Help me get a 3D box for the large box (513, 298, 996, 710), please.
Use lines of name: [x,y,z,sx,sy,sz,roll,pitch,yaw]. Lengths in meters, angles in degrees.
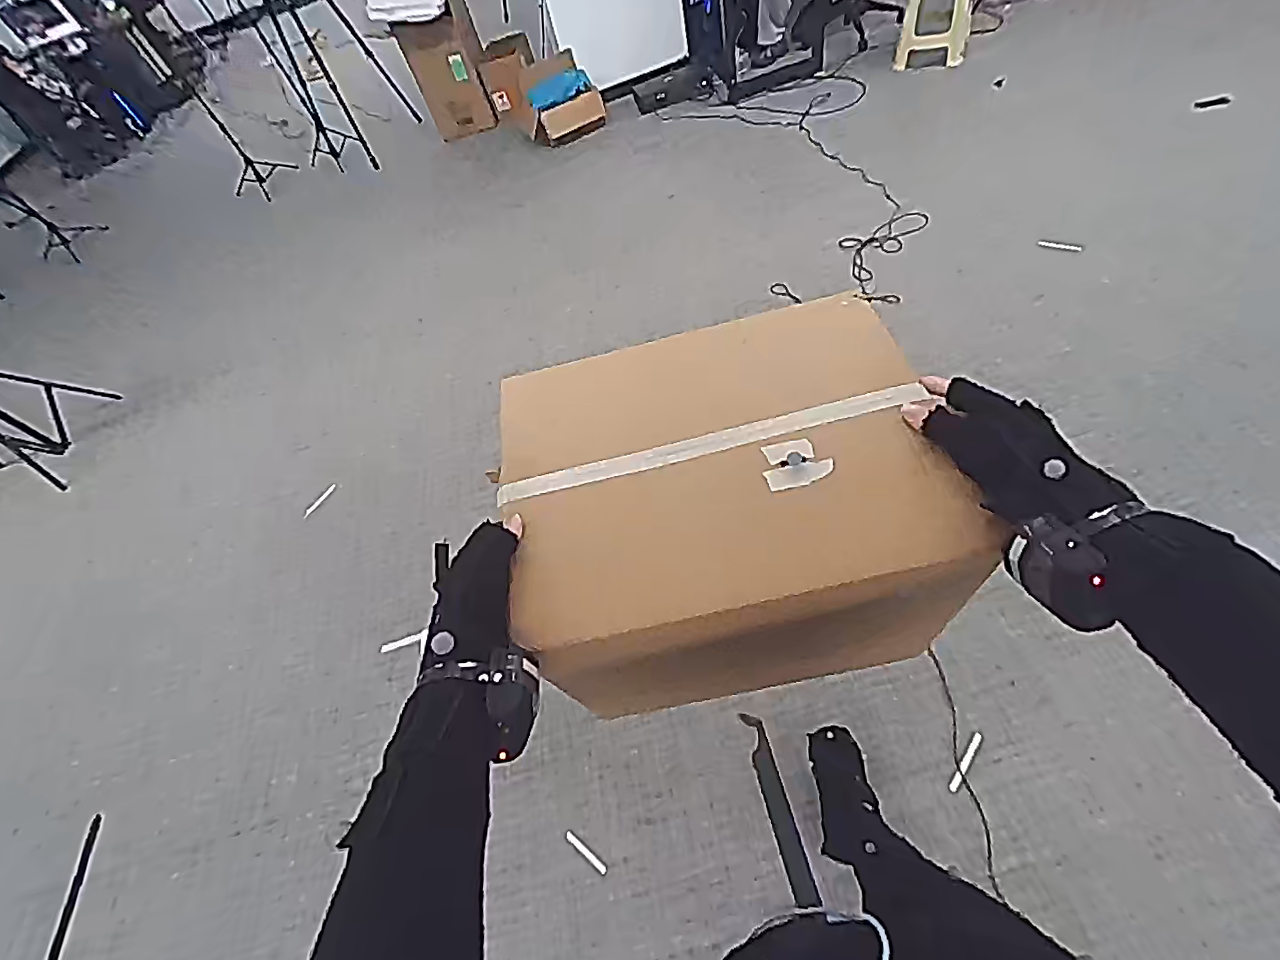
large box: [0.096,0.048,0.647,0.408,0.320,0.320,-13,56,3]
